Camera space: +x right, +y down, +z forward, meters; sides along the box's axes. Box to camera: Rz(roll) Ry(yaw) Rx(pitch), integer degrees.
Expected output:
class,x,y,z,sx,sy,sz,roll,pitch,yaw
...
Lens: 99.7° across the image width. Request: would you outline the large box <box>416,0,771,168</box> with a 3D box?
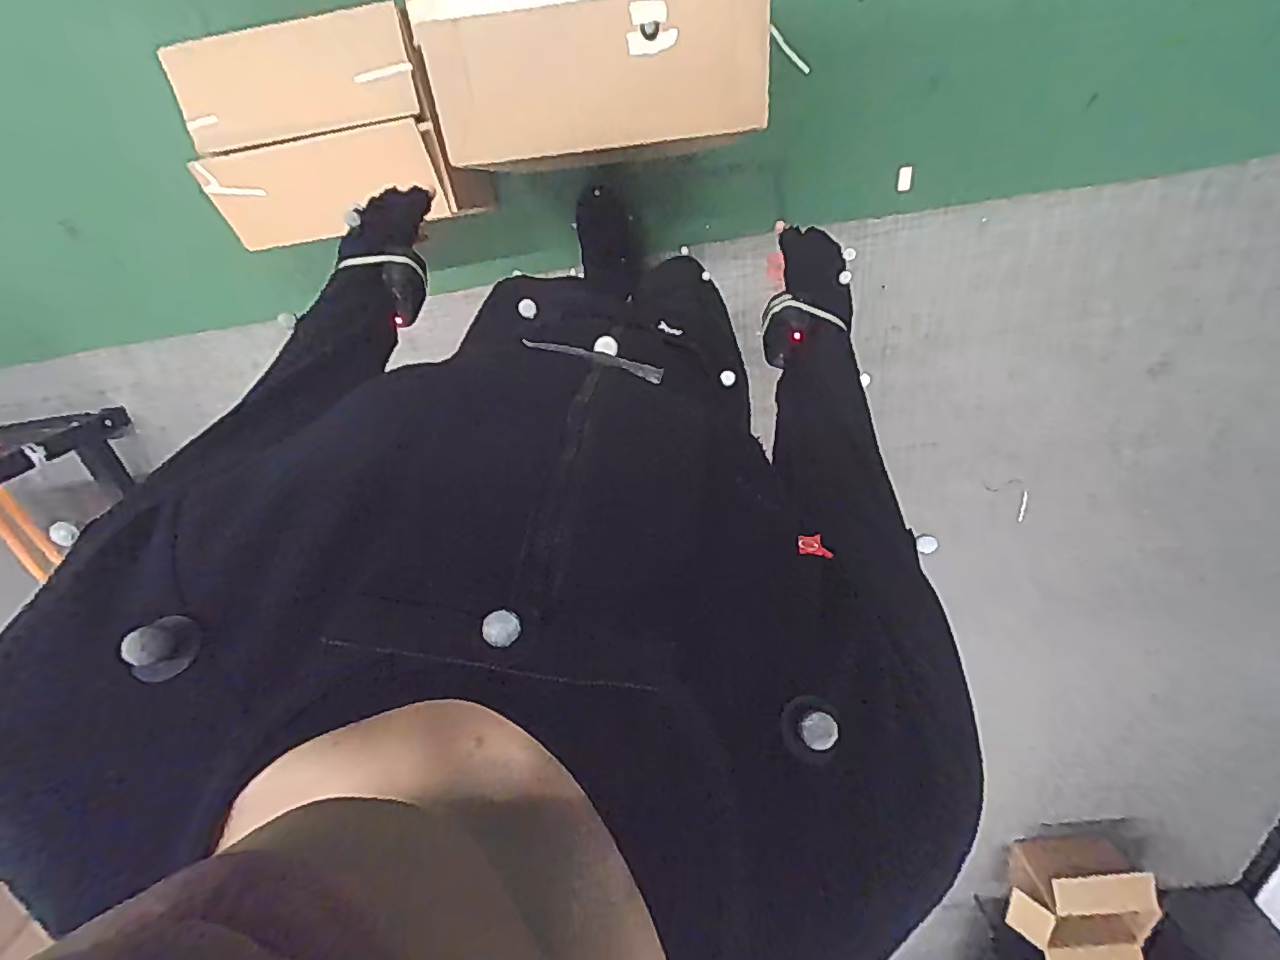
class,x,y,z,sx,sy,sz,roll,pitch,yaw
large box,-0.060,-0.628,0.729,0.408,0.320,0.320,-6,120,2
